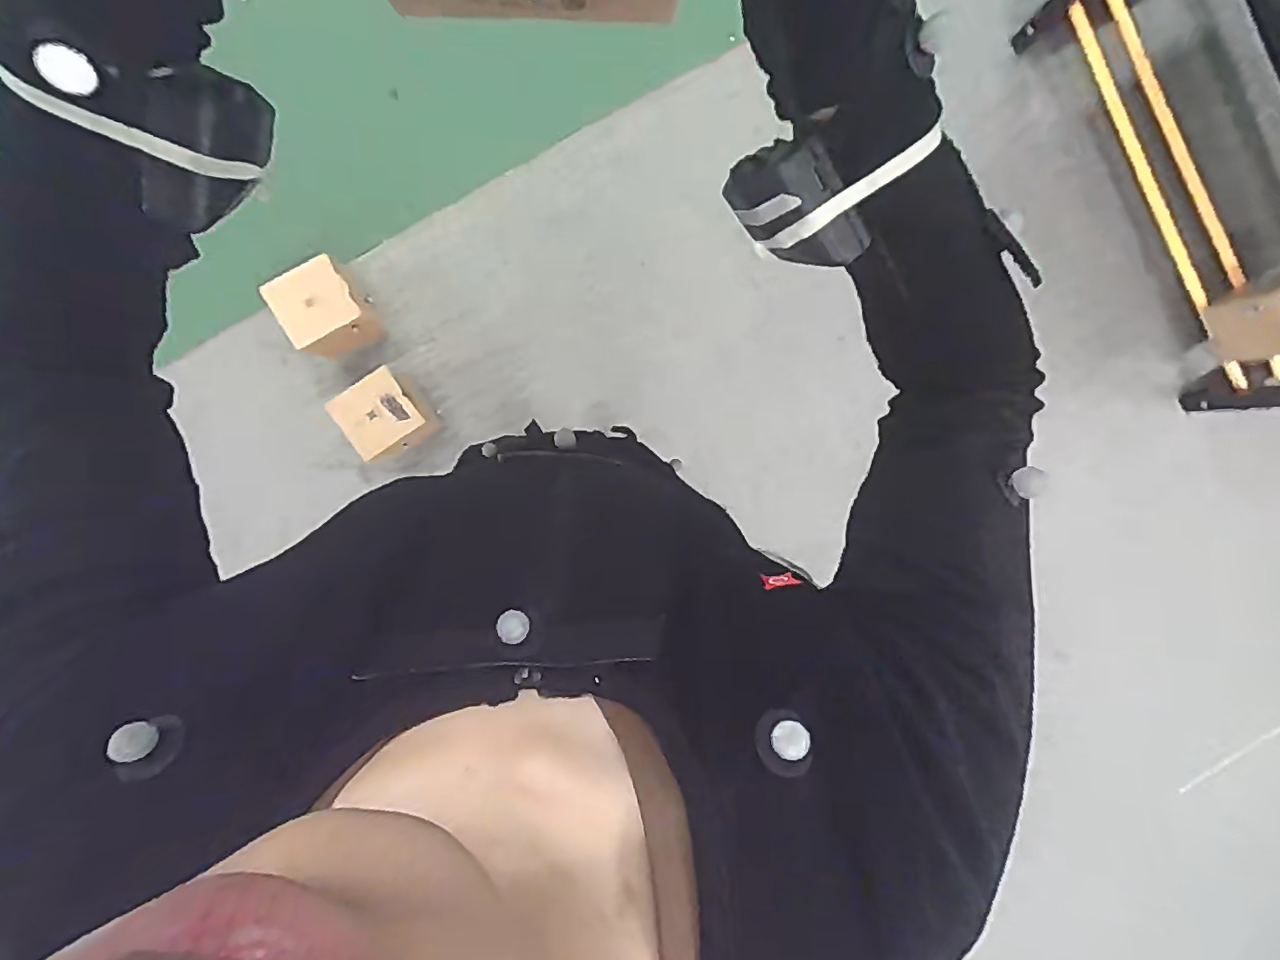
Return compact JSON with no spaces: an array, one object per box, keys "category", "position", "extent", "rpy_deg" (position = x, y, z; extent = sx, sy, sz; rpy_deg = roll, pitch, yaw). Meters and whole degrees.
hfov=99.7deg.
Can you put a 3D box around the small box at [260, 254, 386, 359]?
[{"category":"small box","position":[-0.766,-0.415,1.327],"extent":[0.179,0.176,0.168],"rpy_deg":[-30,95,-2]}]

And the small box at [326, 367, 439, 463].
[{"category":"small box","position":[-0.626,-0.158,1.349],"extent":[0.179,0.176,0.168],"rpy_deg":[-34,94,-1]}]

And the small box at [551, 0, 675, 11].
[{"category":"small box","position":[-0.045,-0.350,0.222],"extent":[0.168,0.176,0.179],"rpy_deg":[-1,102,-4]}]
